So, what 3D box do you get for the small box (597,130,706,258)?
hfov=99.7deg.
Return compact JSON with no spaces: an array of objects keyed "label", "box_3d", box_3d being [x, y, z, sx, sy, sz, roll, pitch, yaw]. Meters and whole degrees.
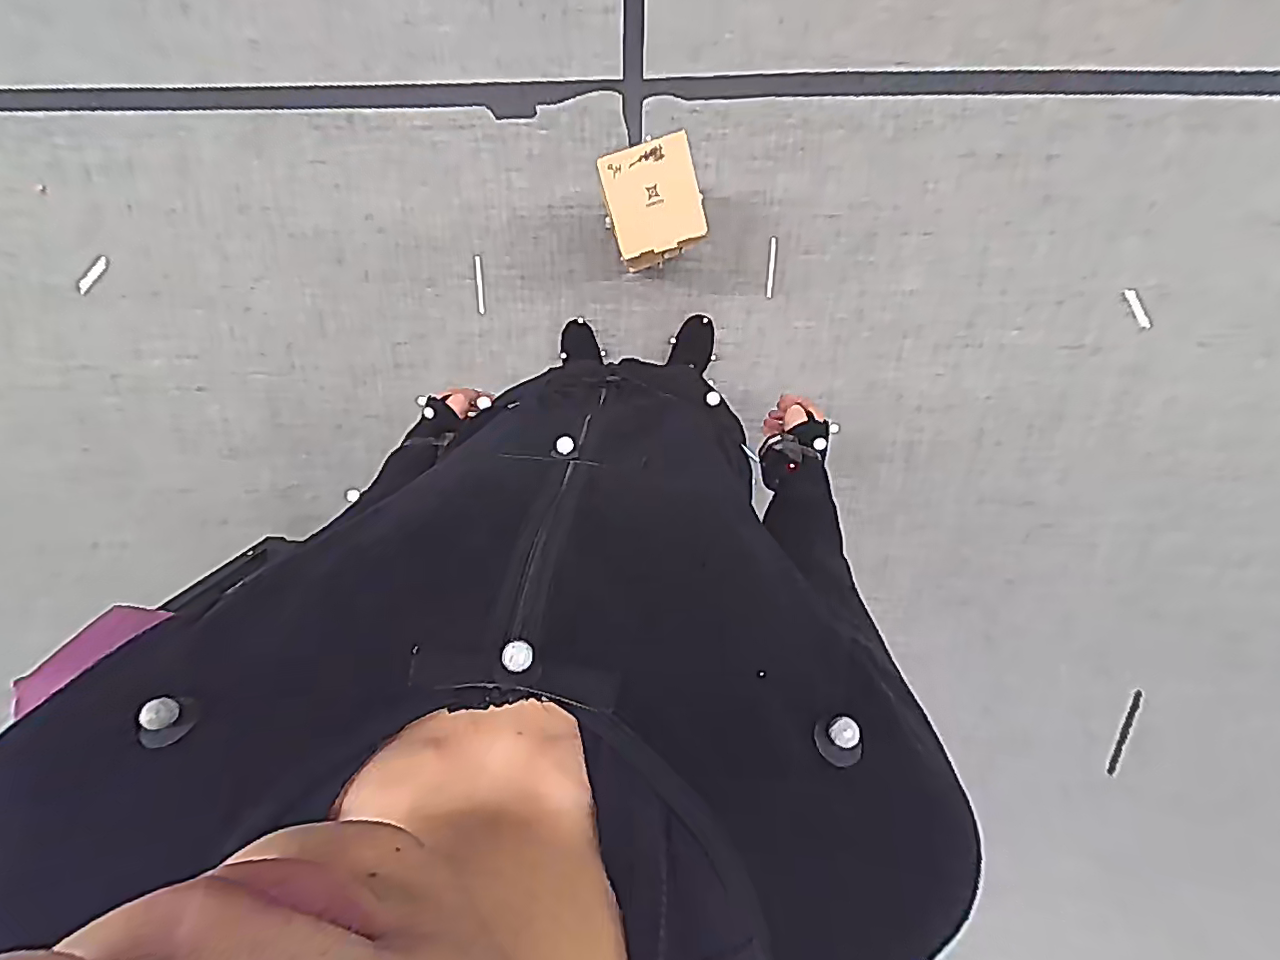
[{"label":"small box","box_3d":[0.025,-0.545,1.053,0.168,0.176,0.179,-15,110,6]}]
